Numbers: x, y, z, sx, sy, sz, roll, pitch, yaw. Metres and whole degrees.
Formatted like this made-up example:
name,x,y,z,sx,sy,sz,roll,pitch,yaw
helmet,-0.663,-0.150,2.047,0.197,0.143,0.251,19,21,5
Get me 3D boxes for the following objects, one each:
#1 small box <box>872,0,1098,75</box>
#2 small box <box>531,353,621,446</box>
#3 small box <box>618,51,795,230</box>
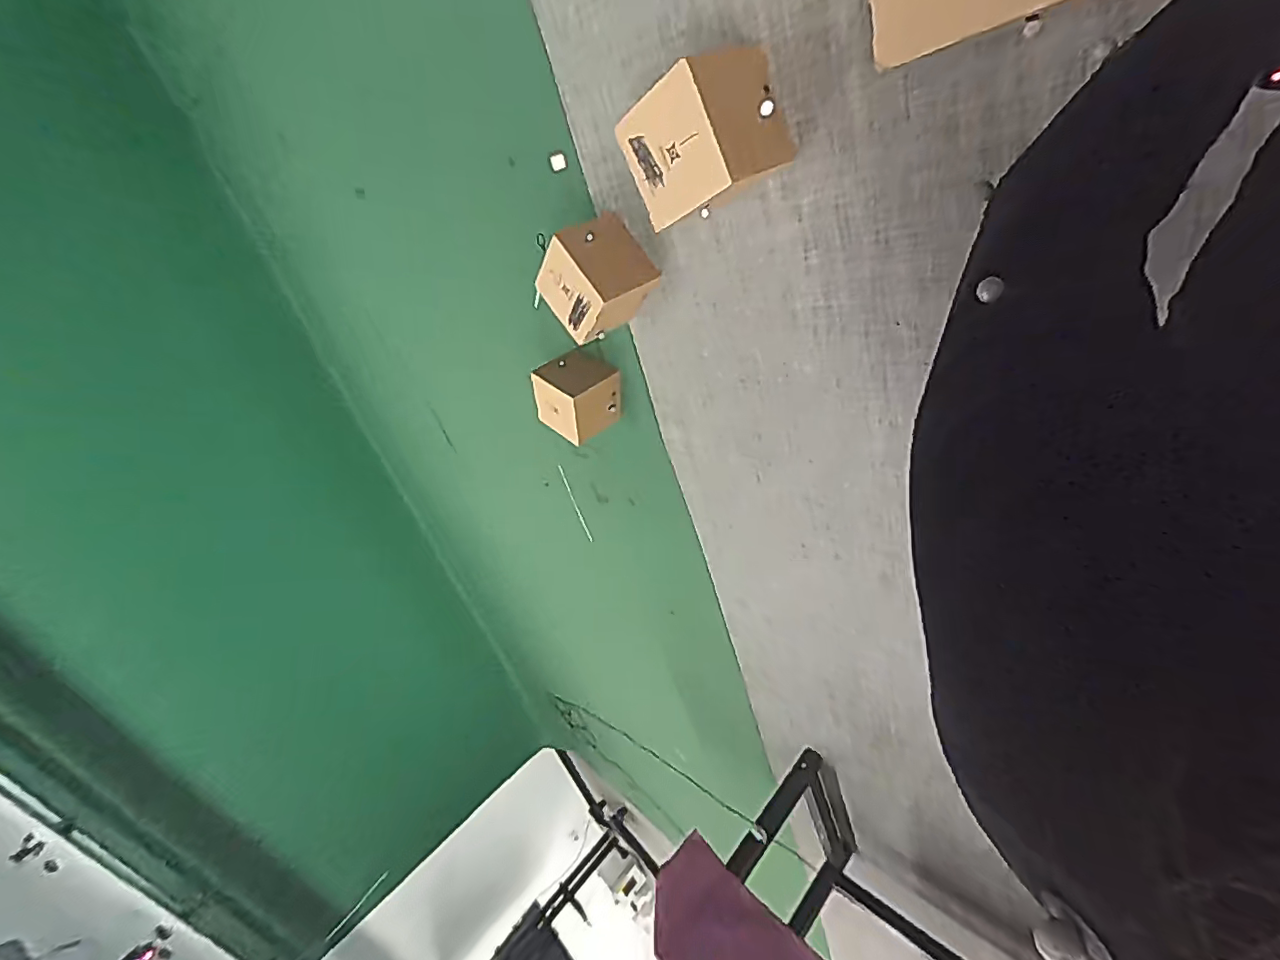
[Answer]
name,x,y,z,sx,sy,sz,roll,pitch,yaw
small box,0.339,-0.518,0.510,0.179,0.176,0.168,14,130,47
small box,-0.172,-0.229,1.487,0.179,0.176,0.168,35,144,29
small box,0.103,-0.514,0.831,0.179,0.176,0.168,-3,118,53
